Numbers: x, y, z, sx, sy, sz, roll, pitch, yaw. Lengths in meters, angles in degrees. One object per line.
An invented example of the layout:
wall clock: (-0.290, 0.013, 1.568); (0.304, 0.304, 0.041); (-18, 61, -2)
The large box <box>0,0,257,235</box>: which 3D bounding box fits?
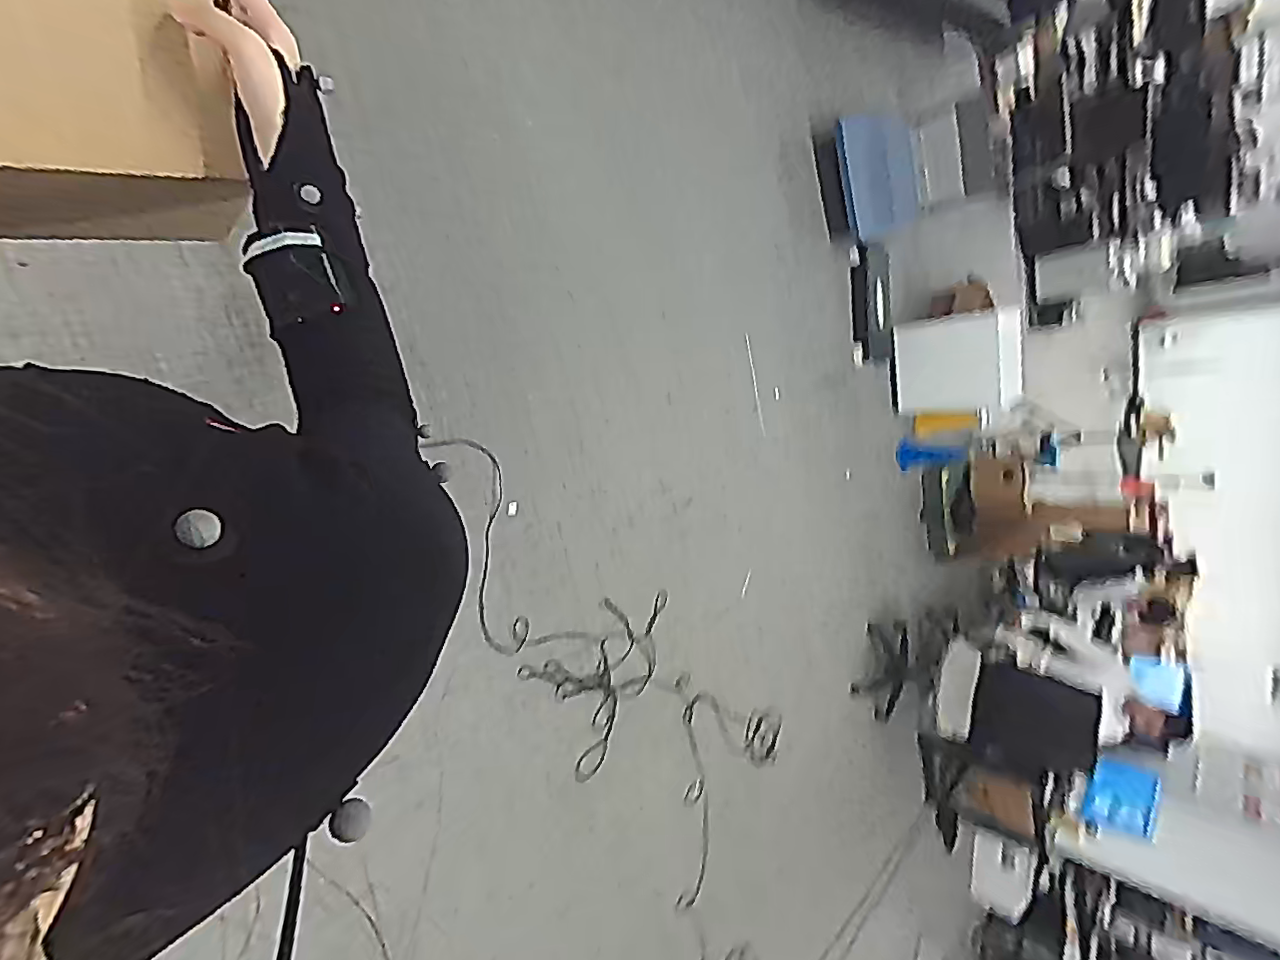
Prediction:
large box: (-0.558, -0.356, 0.376); (0.408, 0.320, 0.320); (-18, 111, -36)
